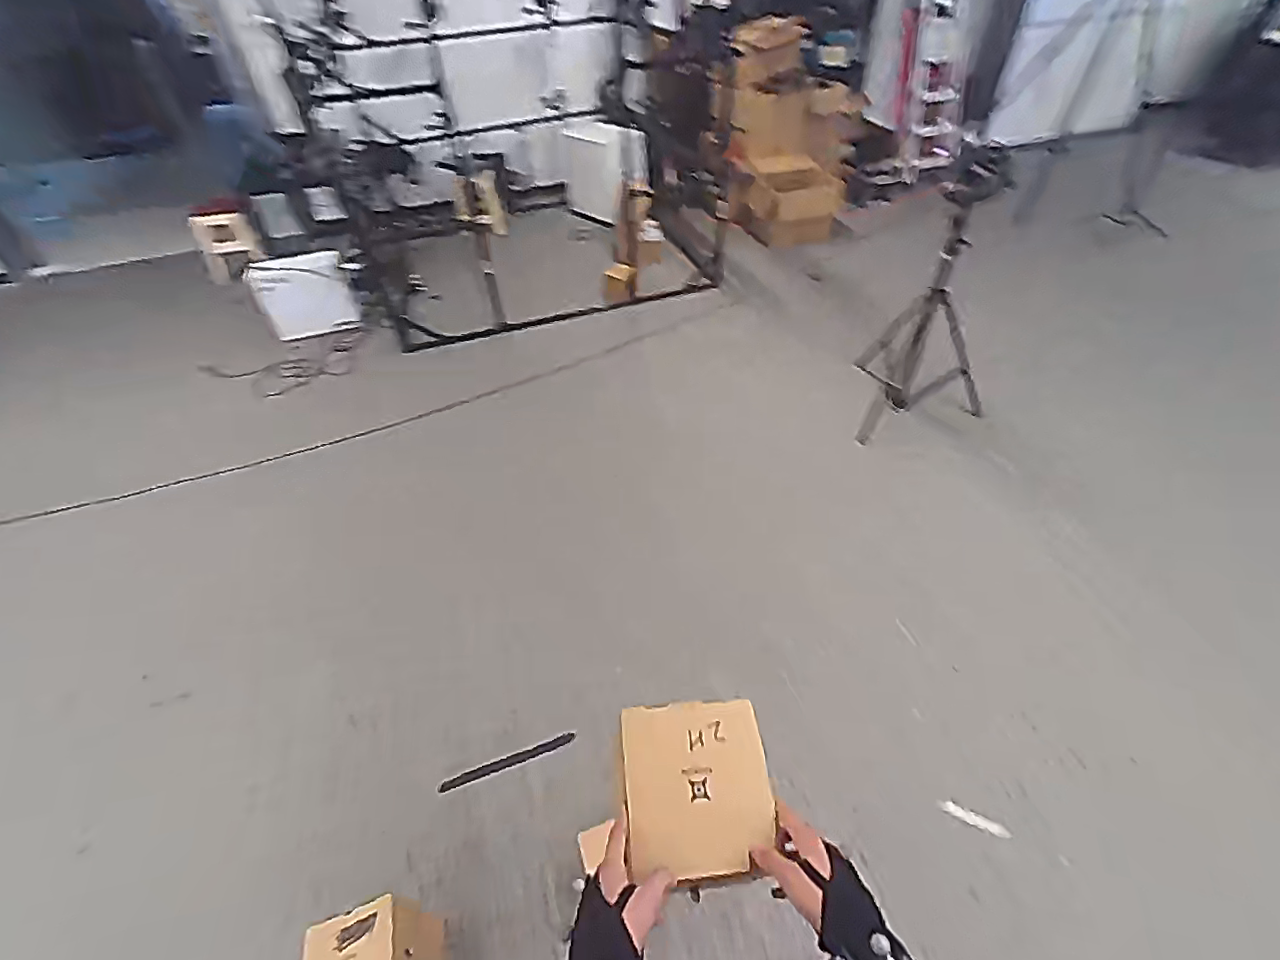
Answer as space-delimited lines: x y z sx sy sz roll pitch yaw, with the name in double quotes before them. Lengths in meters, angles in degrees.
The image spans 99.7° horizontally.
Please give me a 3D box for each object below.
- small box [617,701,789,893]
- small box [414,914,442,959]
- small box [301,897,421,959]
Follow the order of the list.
"small box" 0.061 0.391 0.663 0.168 0.176 0.179 0 49 -8
"small box" -0.533 1.078 1.167 0.179 0.176 0.168 -17 47 -12
"small box" -0.538 0.959 1.054 0.168 0.176 0.179 -17 47 -11
